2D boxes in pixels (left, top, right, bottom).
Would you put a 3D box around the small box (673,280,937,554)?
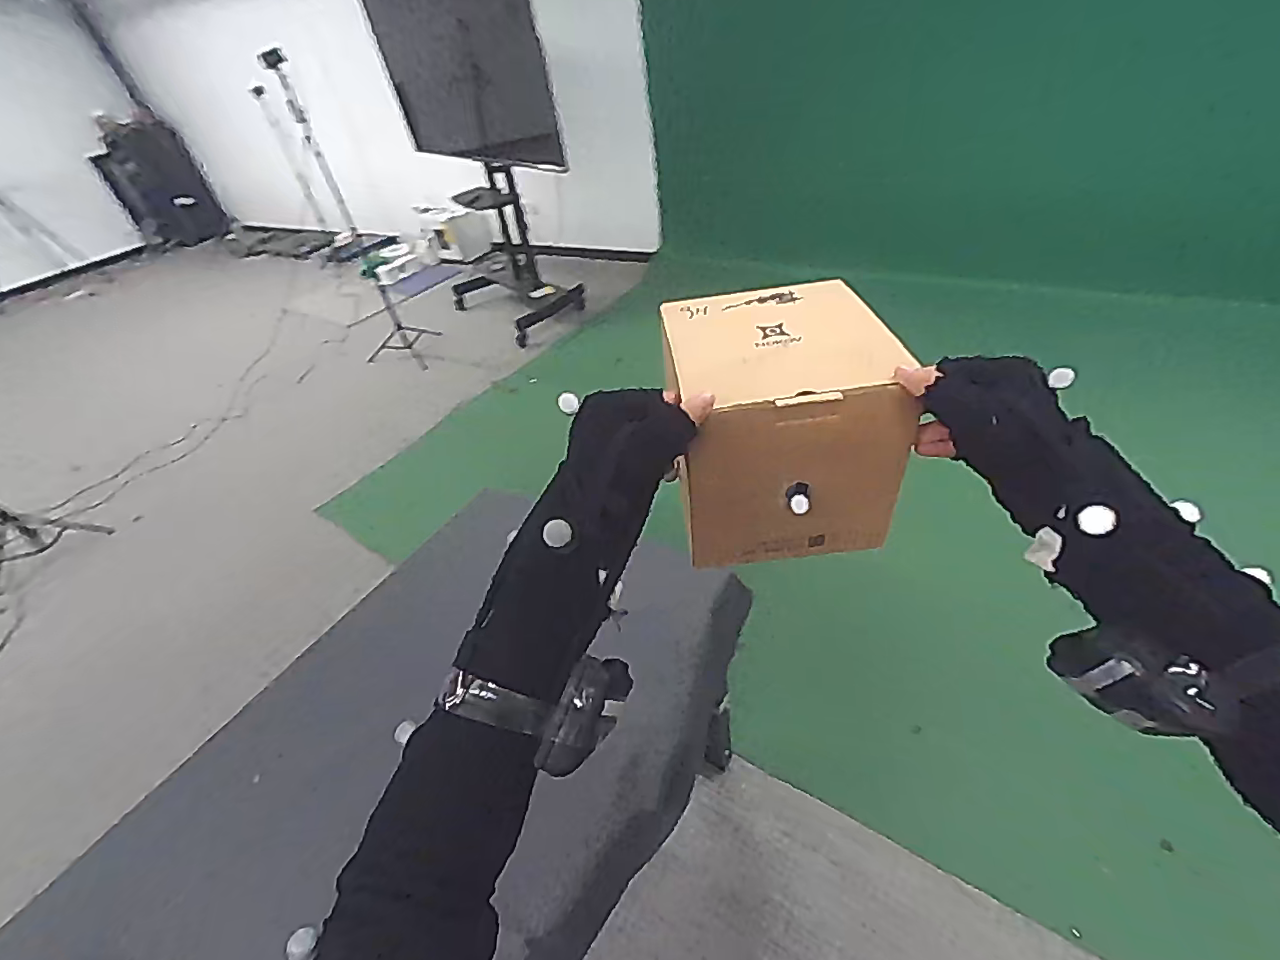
[{"bbox_3d":[0.123,-0.049,0.472,0.168,0.176,0.179,-7,42,2],"label":"small box"}]
